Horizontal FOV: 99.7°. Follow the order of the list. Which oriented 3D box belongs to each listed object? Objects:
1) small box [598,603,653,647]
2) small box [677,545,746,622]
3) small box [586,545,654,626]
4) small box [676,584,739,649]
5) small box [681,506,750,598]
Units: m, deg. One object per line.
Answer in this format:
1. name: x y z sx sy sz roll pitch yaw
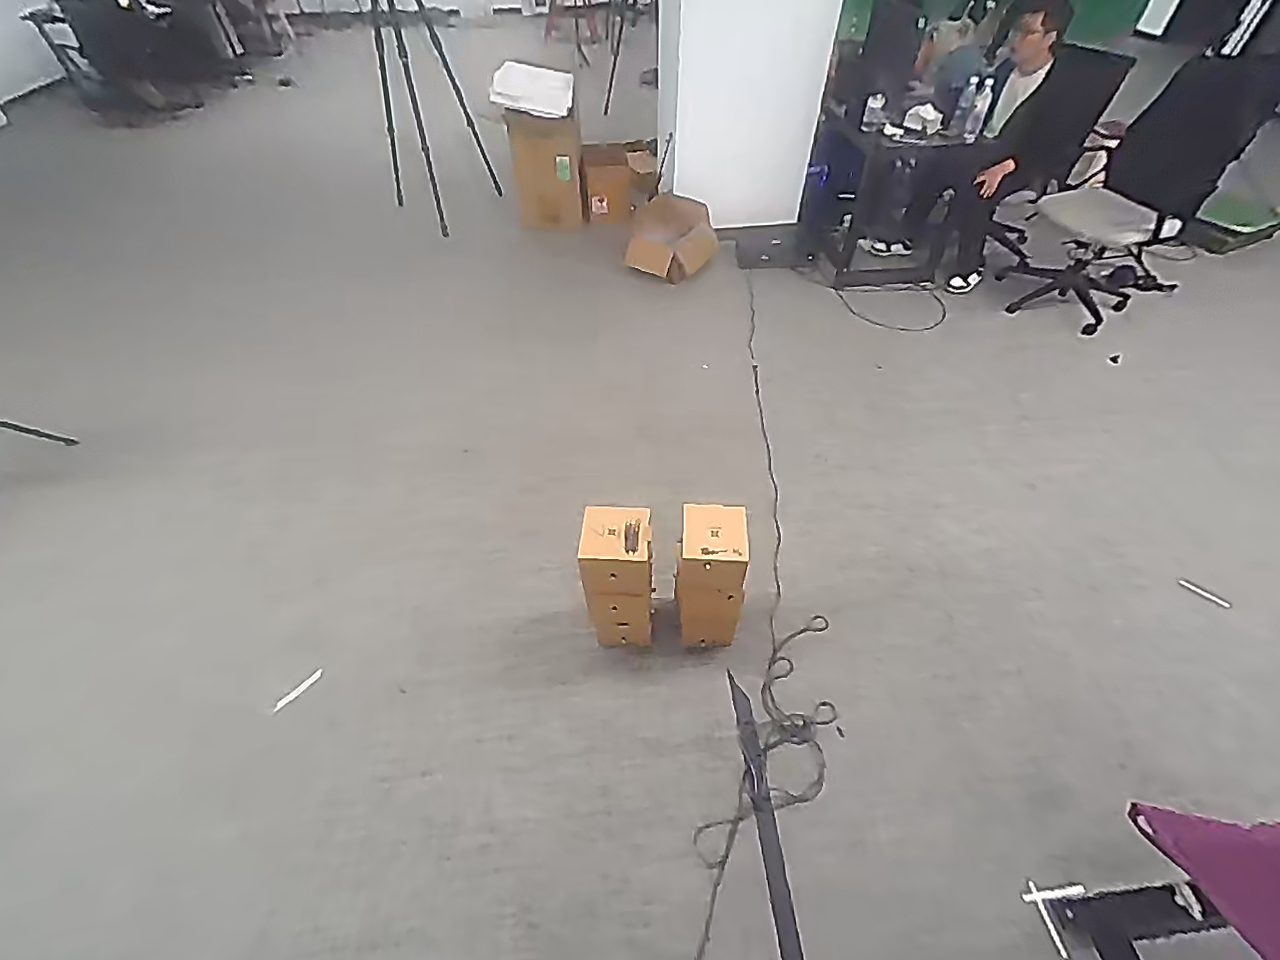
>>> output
1. small box: -0.044 0.403 1.687 0.168 0.176 0.179 -1 49 1
2. small box: 0.200 0.299 1.562 0.179 0.176 0.168 -3 48 -1
3. small box: -0.052 0.306 1.554 0.179 0.176 0.168 2 48 4
4. small box: 0.202 0.406 1.684 0.168 0.176 0.179 -4 49 -2
5. small box: 0.196 0.191 1.438 0.168 0.176 0.179 3 47 4
